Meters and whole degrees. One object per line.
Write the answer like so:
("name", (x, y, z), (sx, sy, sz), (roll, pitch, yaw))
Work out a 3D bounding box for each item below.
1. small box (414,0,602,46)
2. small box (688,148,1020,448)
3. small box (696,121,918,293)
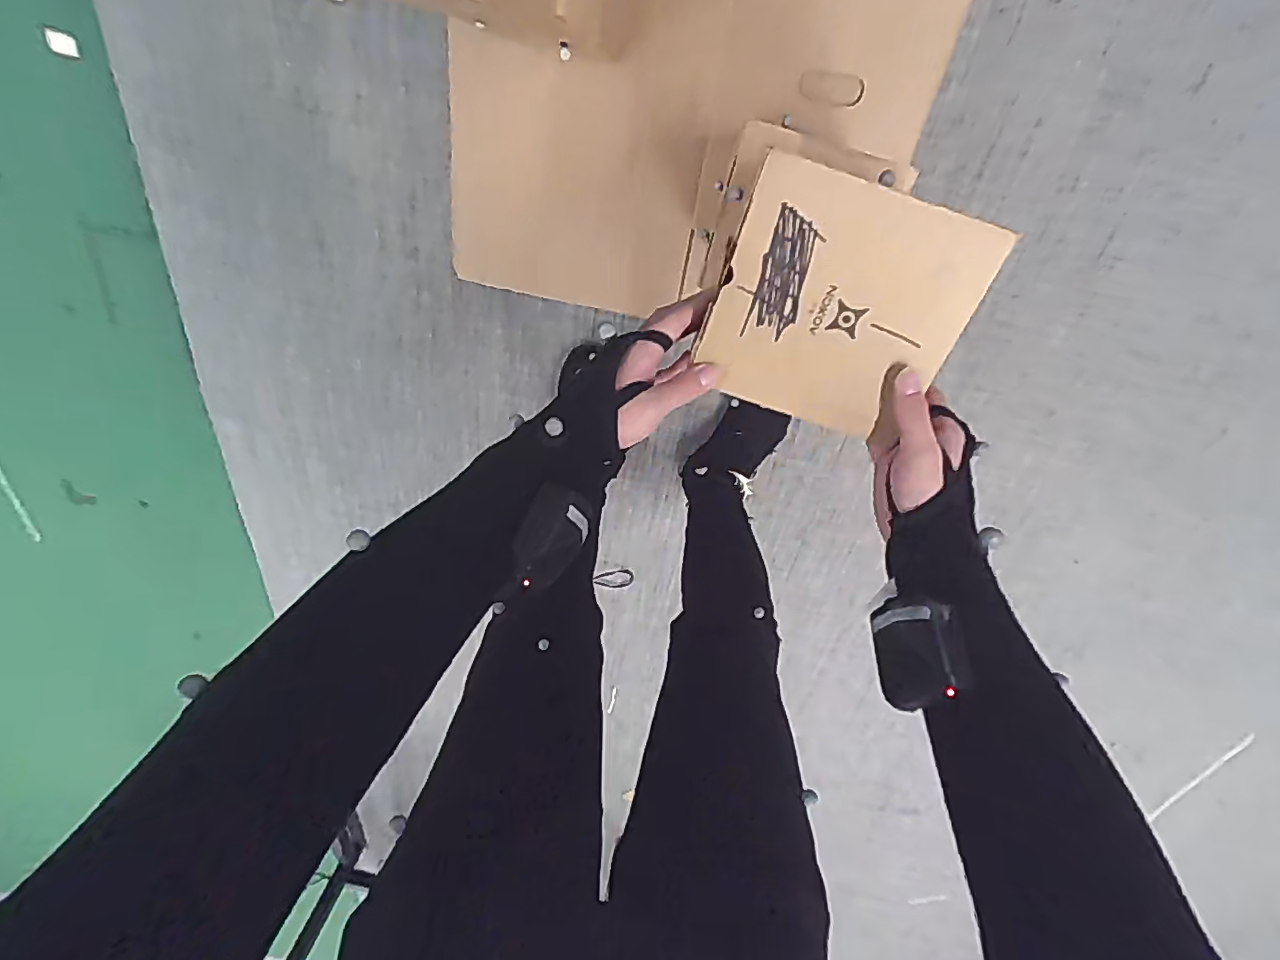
("small box", (-0.125, -0.542, 0.519), (0.179, 0.176, 0.168), (13, 123, 1))
("small box", (0.153, -0.155, 0.456), (0.179, 0.176, 0.168), (18, 120, -2))
("small box", (0.176, -0.293, 0.626), (0.179, 0.176, 0.168), (16, 123, -1))
